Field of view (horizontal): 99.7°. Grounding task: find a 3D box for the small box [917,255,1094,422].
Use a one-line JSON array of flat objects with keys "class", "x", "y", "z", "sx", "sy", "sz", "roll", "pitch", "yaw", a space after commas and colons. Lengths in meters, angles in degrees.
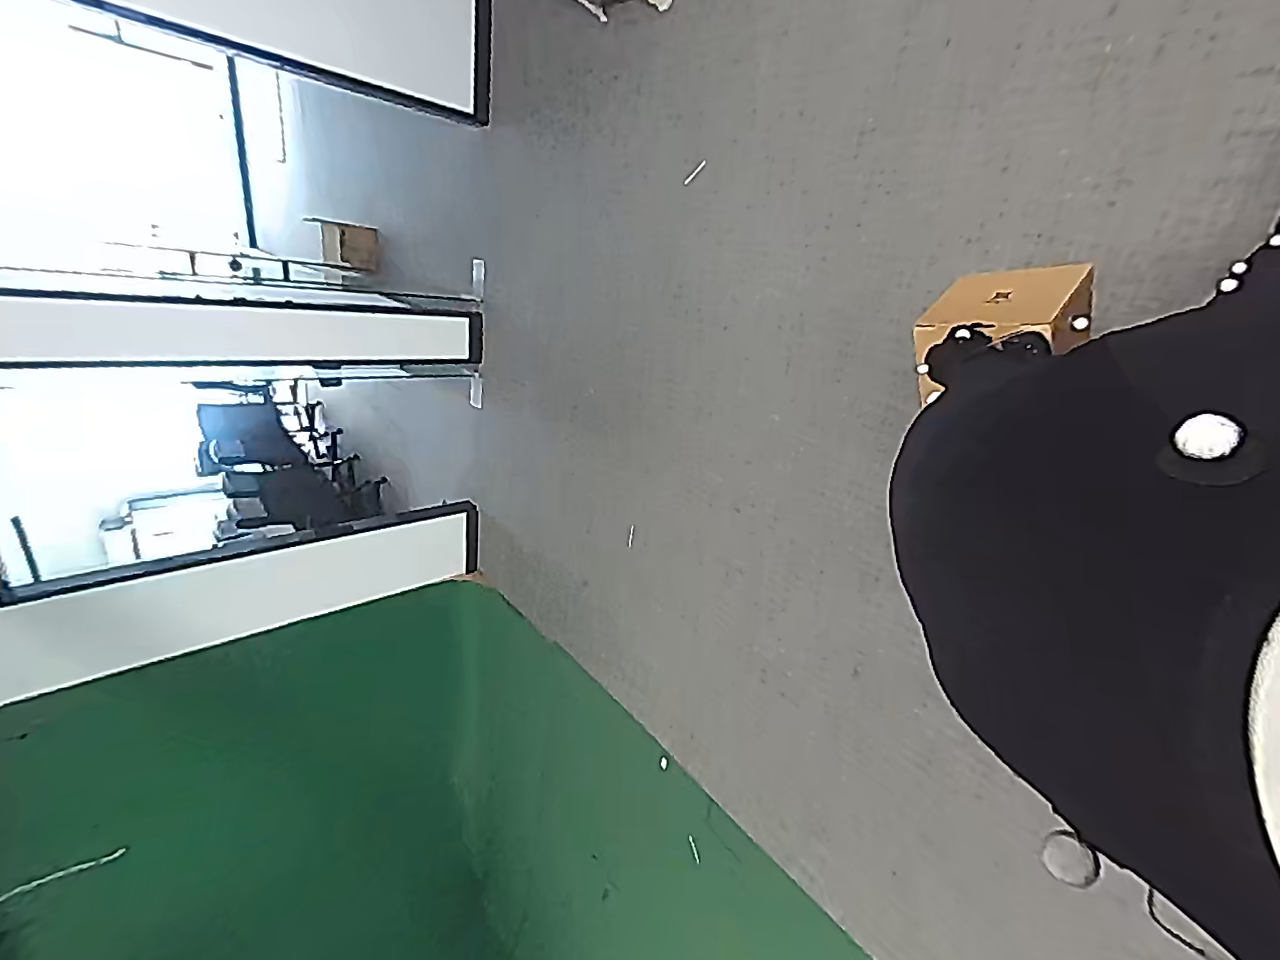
[{"class": "small box", "x": 0.533, "y": -0.209, "z": 0.797, "sx": 0.168, "sy": 0.179, "sz": 0.176, "roll": 16, "pitch": 139, "yaw": 47}]
